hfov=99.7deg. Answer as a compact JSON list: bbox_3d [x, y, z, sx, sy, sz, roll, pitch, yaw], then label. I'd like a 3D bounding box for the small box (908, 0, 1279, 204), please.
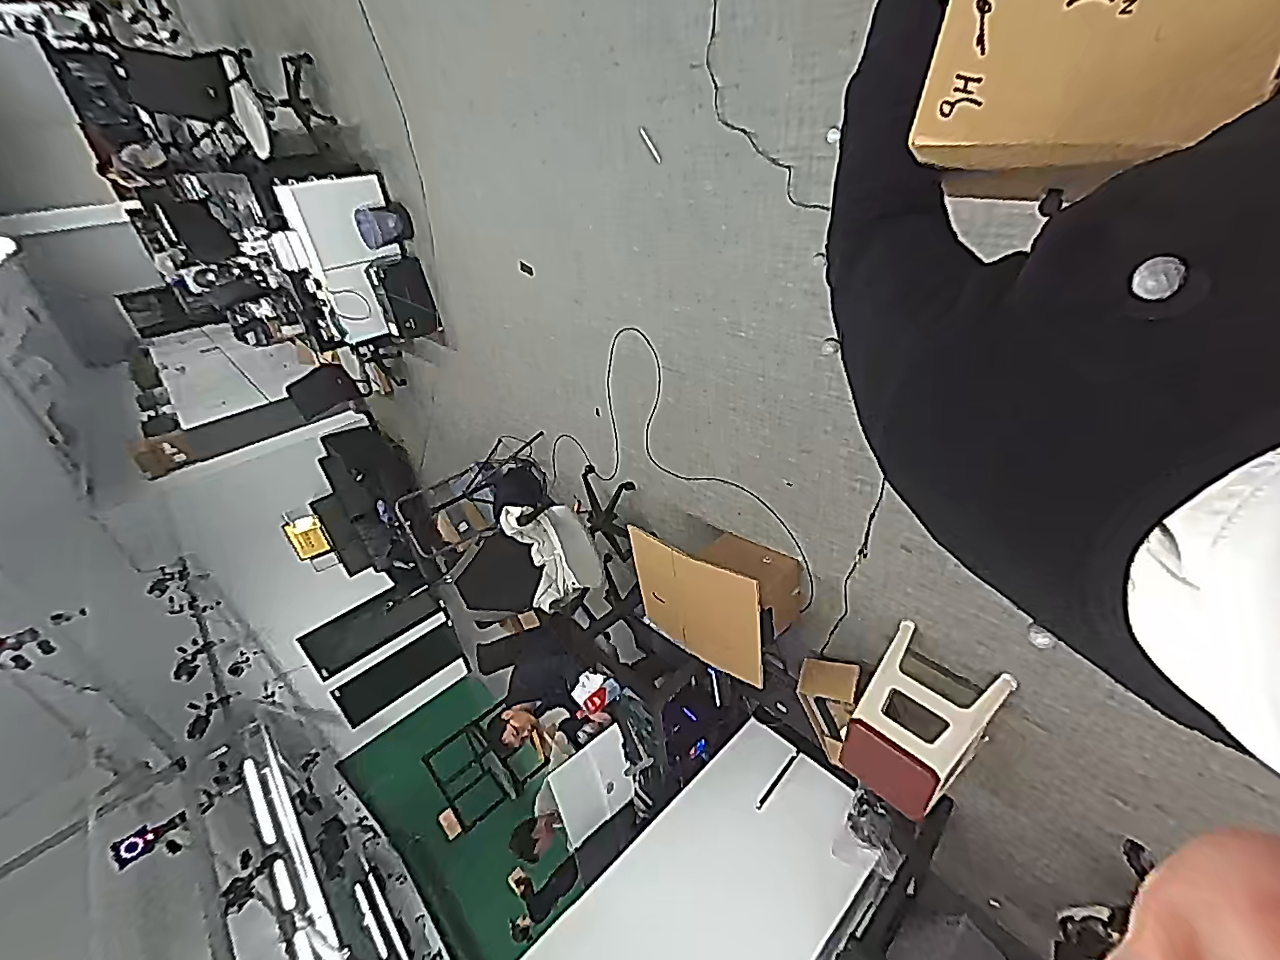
[{"bbox_3d":[0.317,-0.299,0.372,0.179,0.176,0.168,23,114,31],"label":"small box"}]
